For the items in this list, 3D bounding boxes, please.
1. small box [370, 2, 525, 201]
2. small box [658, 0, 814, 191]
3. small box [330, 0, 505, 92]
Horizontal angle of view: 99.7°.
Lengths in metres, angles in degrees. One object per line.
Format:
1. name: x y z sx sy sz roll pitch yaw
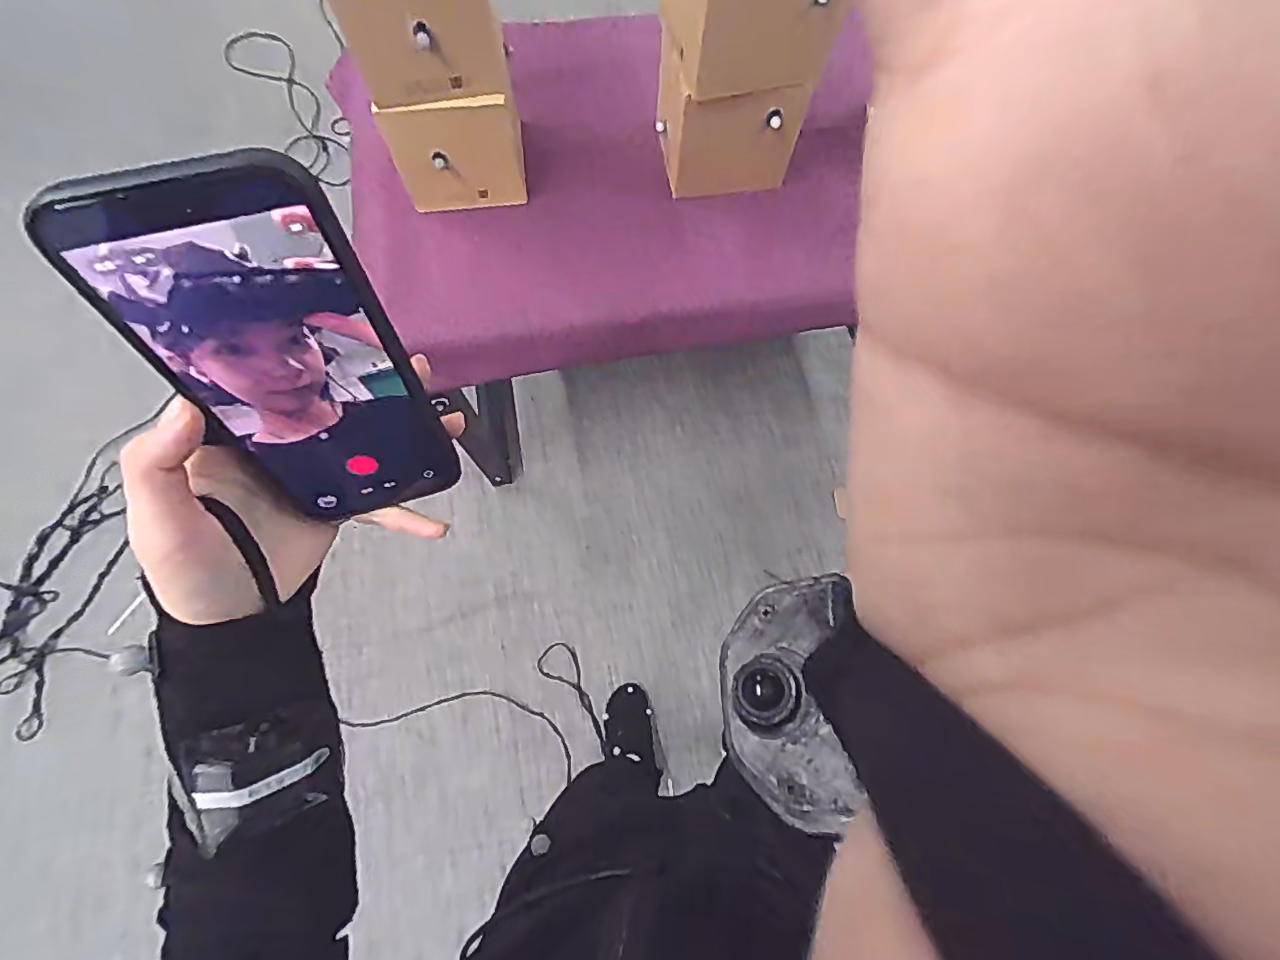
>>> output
1. small box: -0.263 -0.524 0.770 0.168 0.176 0.179 -7 73 -3
2. small box: 0.126 -0.554 0.788 0.179 0.176 0.168 -7 73 -4
3. small box: -0.260 -0.579 0.616 0.168 0.176 0.179 -12 74 -5
